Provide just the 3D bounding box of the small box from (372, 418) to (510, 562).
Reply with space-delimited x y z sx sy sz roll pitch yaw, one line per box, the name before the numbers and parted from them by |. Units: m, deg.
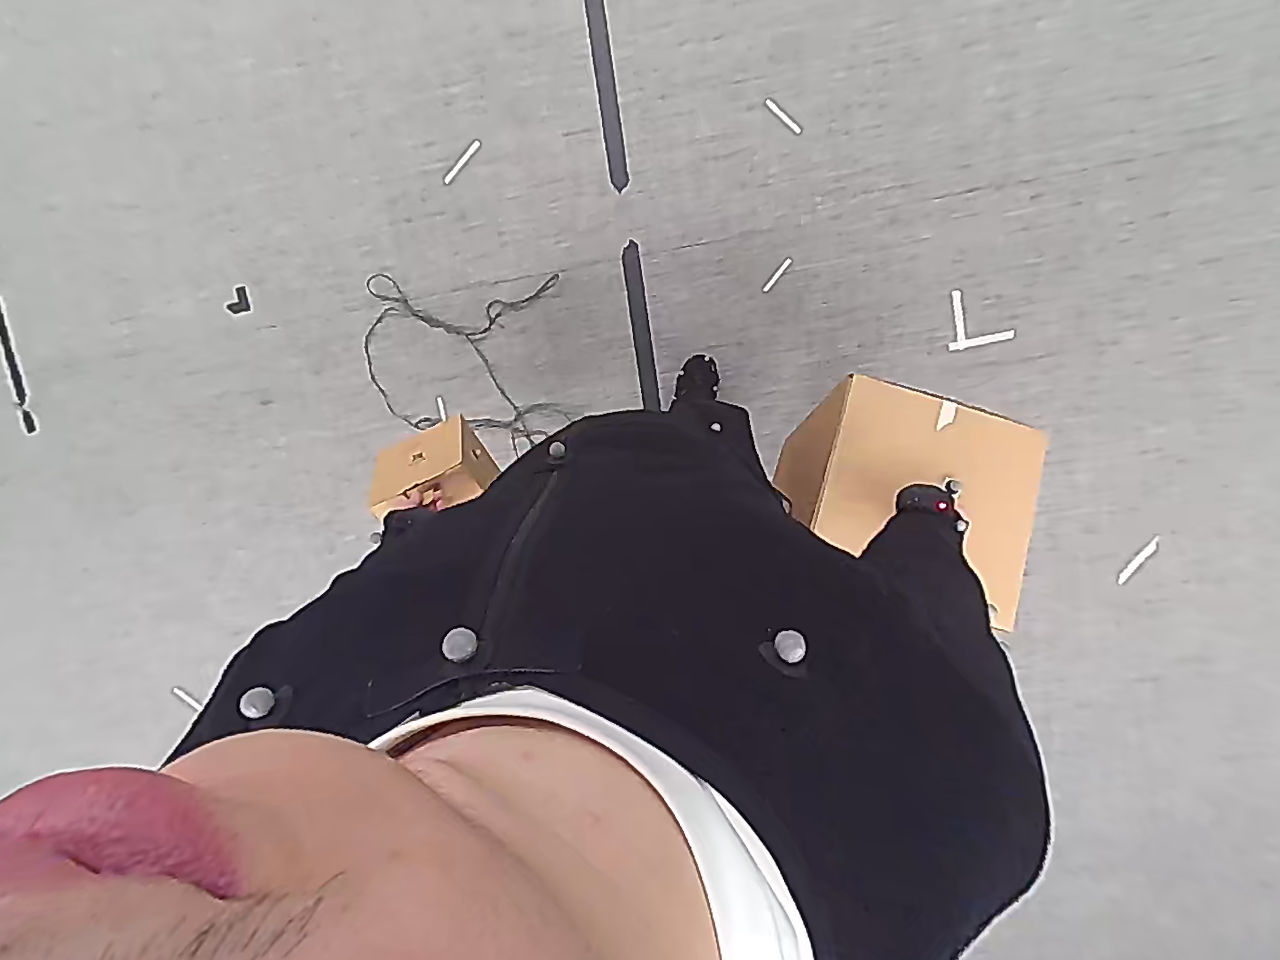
small box | -0.347 0.024 0.971 0.168 0.179 0.176 -25 127 -1
